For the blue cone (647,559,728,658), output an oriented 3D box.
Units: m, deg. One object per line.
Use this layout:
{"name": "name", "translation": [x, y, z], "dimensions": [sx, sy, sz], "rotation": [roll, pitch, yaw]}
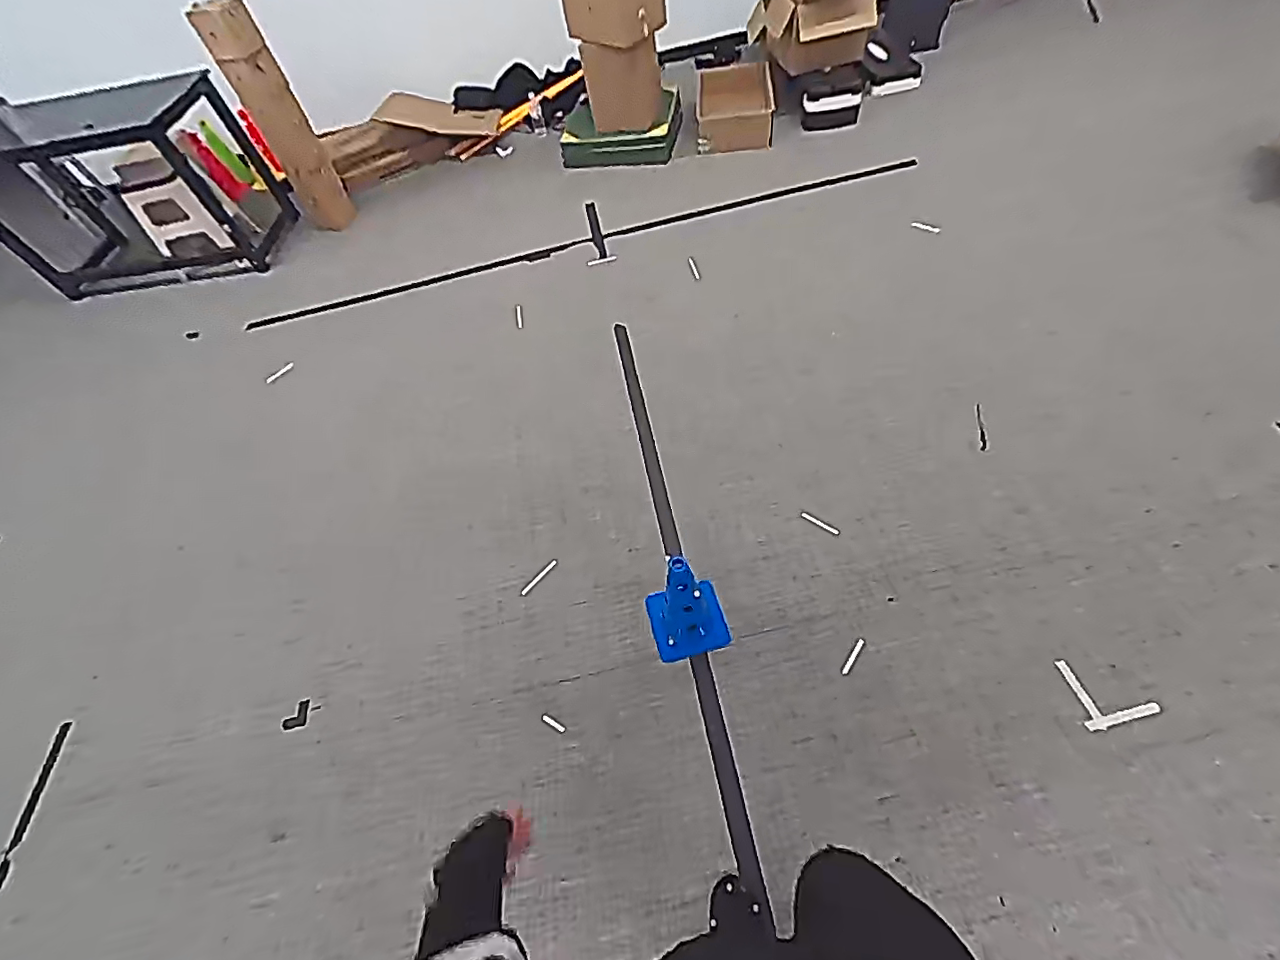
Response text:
{"name": "blue cone", "translation": [0.111, 0.286, 1.344], "dimensions": [0.192, 0.380, 0.193], "rotation": [-17, 56, -3]}
